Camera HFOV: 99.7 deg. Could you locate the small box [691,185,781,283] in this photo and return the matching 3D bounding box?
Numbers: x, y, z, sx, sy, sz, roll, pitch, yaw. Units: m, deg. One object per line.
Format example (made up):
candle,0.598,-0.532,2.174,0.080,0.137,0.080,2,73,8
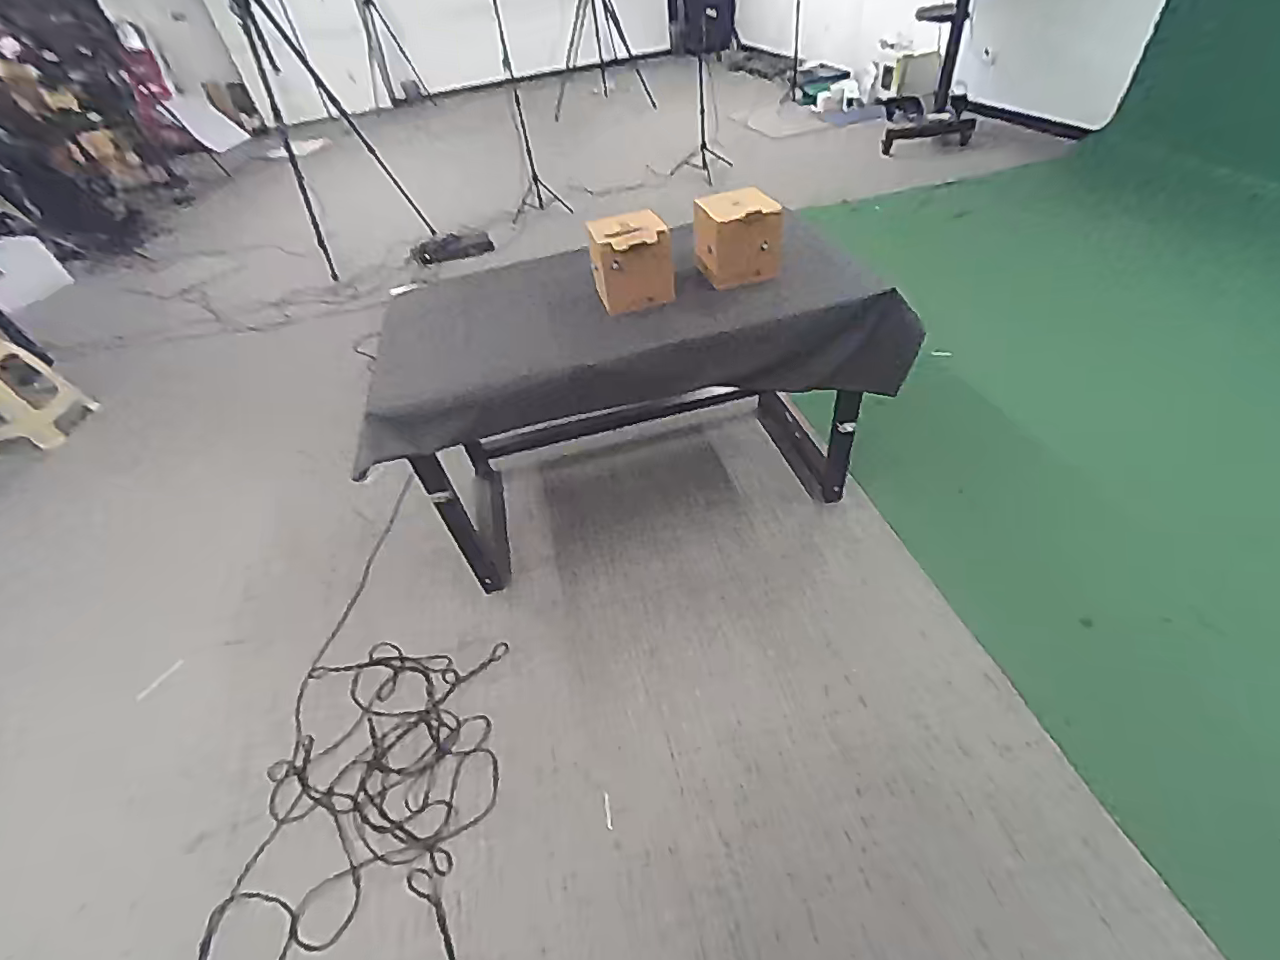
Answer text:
small box,0.234,-0.602,1.335,0.168,0.176,0.179,-15,44,-7
